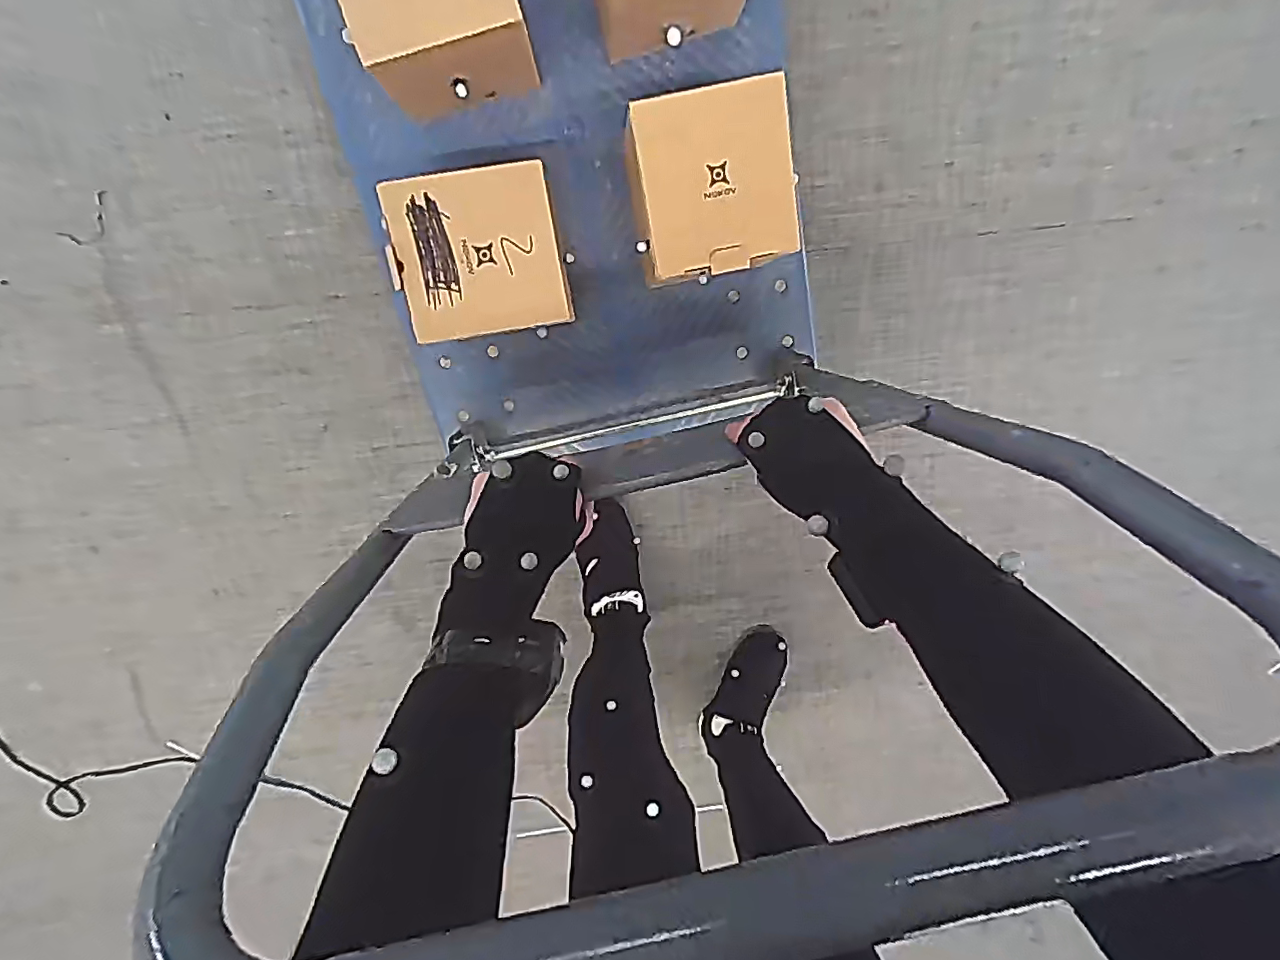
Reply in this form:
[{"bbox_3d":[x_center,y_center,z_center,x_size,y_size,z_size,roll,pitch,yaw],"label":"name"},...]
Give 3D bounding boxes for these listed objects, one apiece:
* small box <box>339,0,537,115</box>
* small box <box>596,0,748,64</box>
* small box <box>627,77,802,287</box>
[{"bbox_3d":[-0.218,-0.523,0.578,0.168,0.176,0.179,-16,107,0],"label":"small box"},{"bbox_3d":[0.025,-0.593,0.572,0.168,0.176,0.179,-15,108,2],"label":"small box"},{"bbox_3d":[0.081,-0.342,0.655,0.168,0.176,0.179,-12,108,0],"label":"small box"}]
